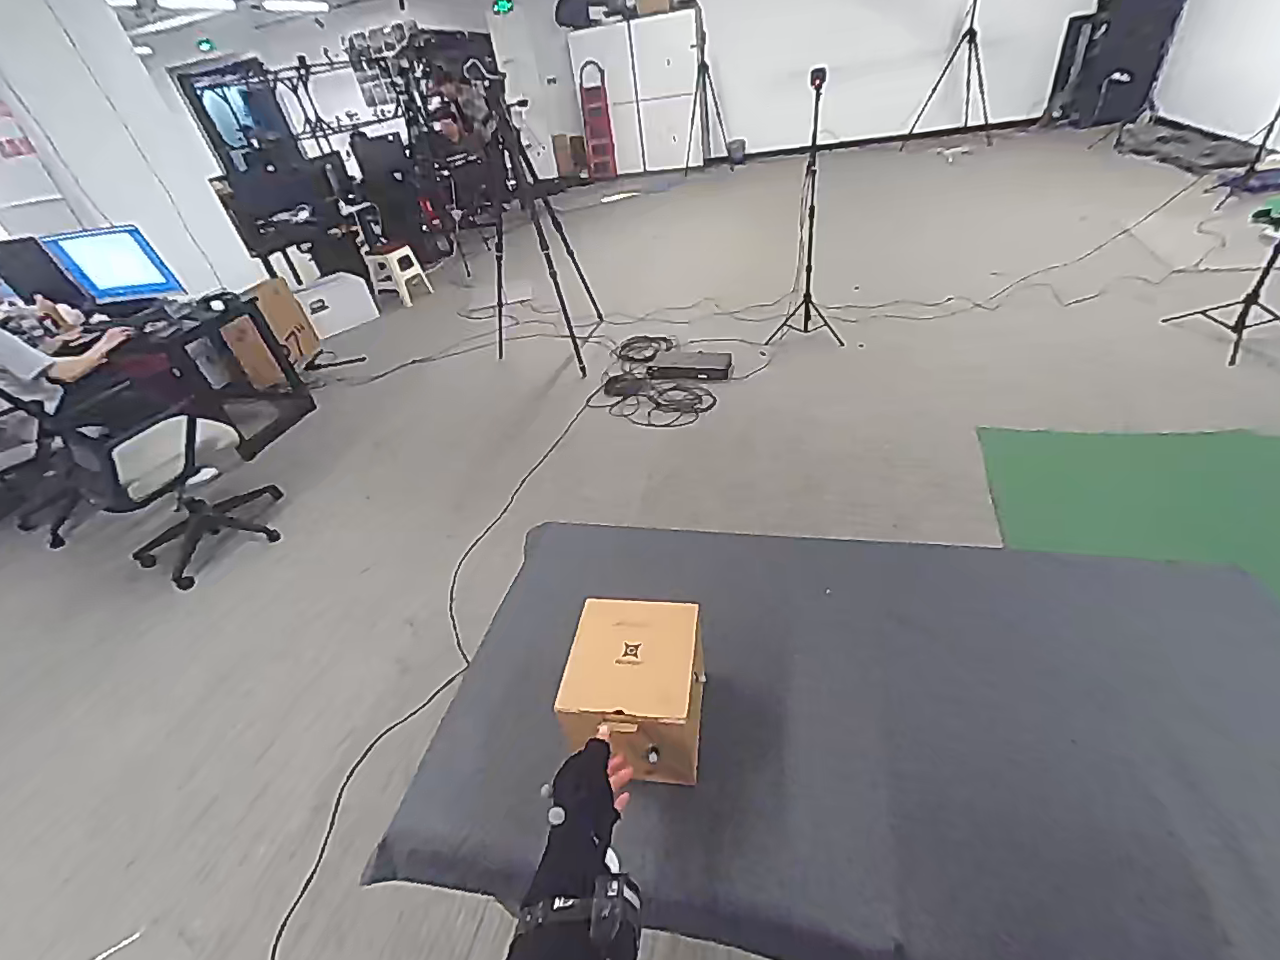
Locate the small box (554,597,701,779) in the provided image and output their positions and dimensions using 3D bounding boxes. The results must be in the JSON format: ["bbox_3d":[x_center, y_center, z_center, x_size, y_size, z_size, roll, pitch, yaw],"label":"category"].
[{"bbox_3d":[-0.004,0.288,0.754,0.168,0.176,0.179,1,37,10],"label":"small box"}]
